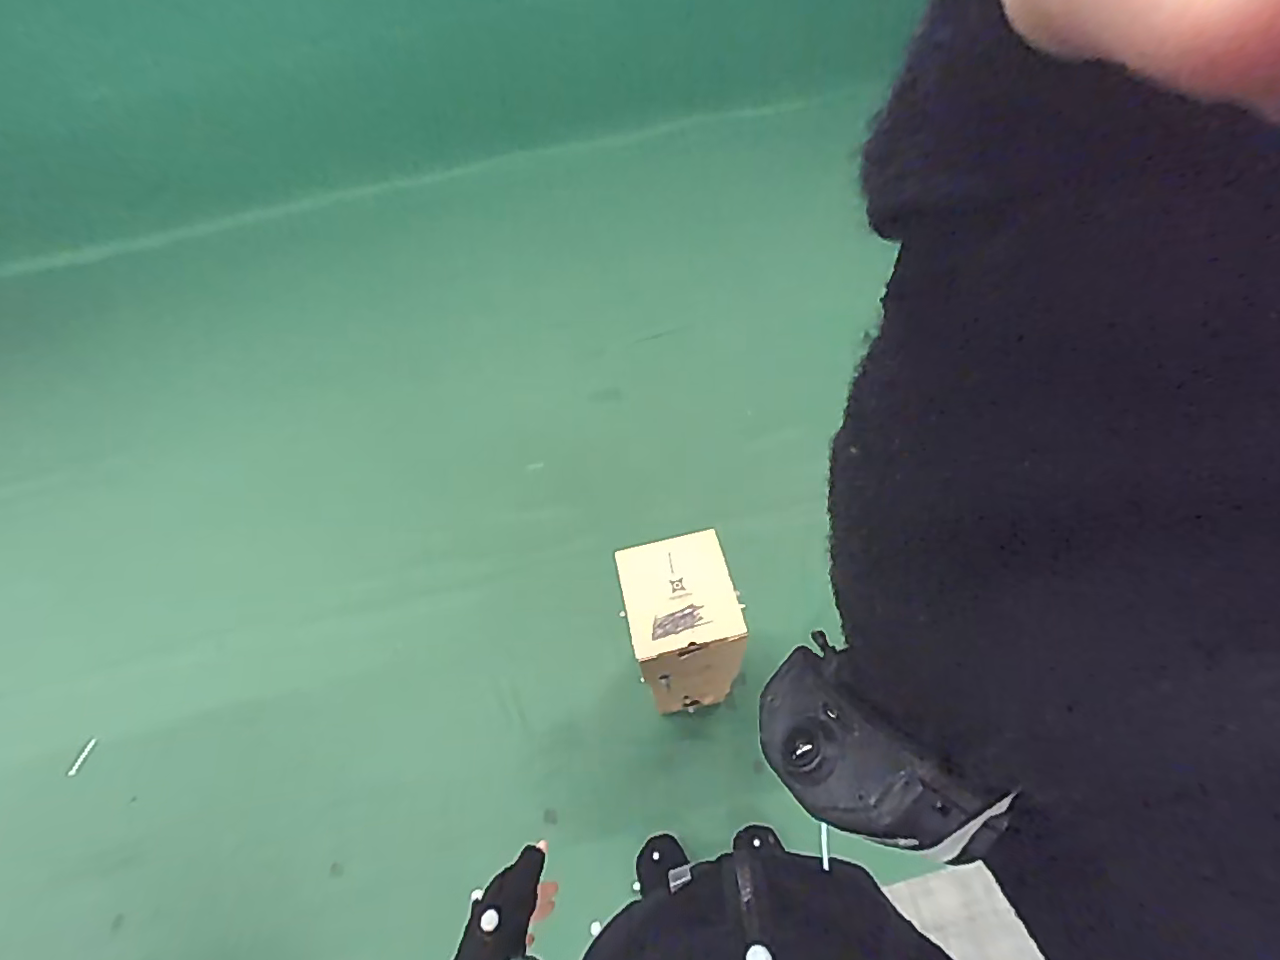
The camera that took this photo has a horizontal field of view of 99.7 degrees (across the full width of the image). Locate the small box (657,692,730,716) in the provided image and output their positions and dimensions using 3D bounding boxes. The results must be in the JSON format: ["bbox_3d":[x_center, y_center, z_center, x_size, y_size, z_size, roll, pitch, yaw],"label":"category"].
[{"bbox_3d":[0.114,0.456,1.310,0.168,0.176,0.179,-12,59,0],"label":"small box"}]

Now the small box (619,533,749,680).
[{"bbox_3d":[0.070,0.215,0.882,0.168,0.176,0.179,-13,57,-2],"label":"small box"}]

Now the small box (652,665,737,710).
[{"bbox_3d":[0.100,0.377,1.167,0.168,0.176,0.179,-14,59,-2],"label":"small box"}]
